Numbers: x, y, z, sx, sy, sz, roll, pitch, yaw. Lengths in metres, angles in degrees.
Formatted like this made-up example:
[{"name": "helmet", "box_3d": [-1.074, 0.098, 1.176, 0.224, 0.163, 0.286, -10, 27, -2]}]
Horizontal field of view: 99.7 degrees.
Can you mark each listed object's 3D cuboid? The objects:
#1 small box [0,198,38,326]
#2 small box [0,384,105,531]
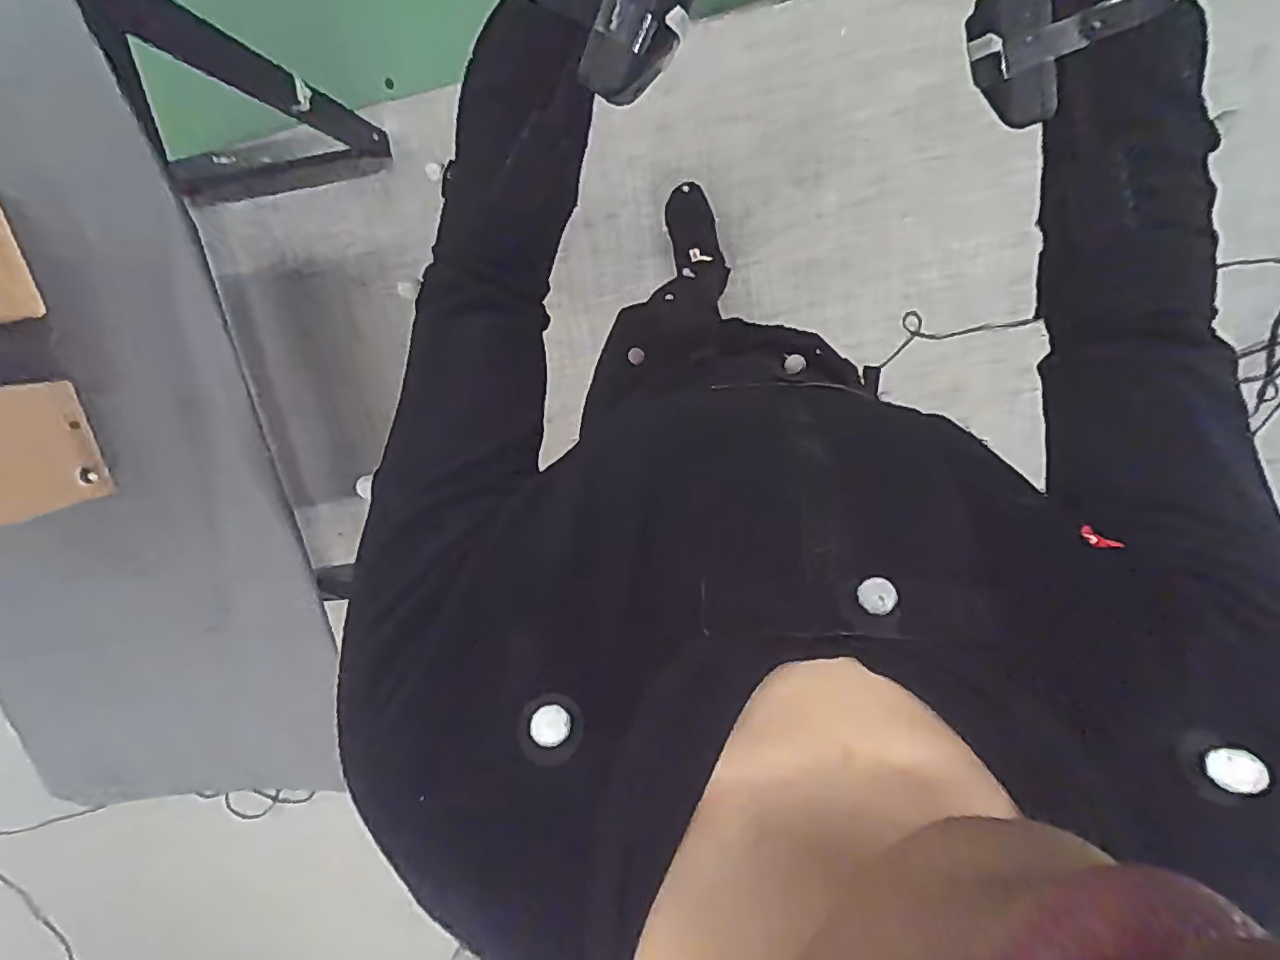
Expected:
[{"name": "small box", "box_3d": [-0.886, -0.265, 0.636, 0.179, 0.176, 0.168, -8, 106, 7]}, {"name": "small box", "box_3d": [-0.863, -0.028, 0.703, 0.179, 0.176, 0.168, -5, 106, 7]}]
